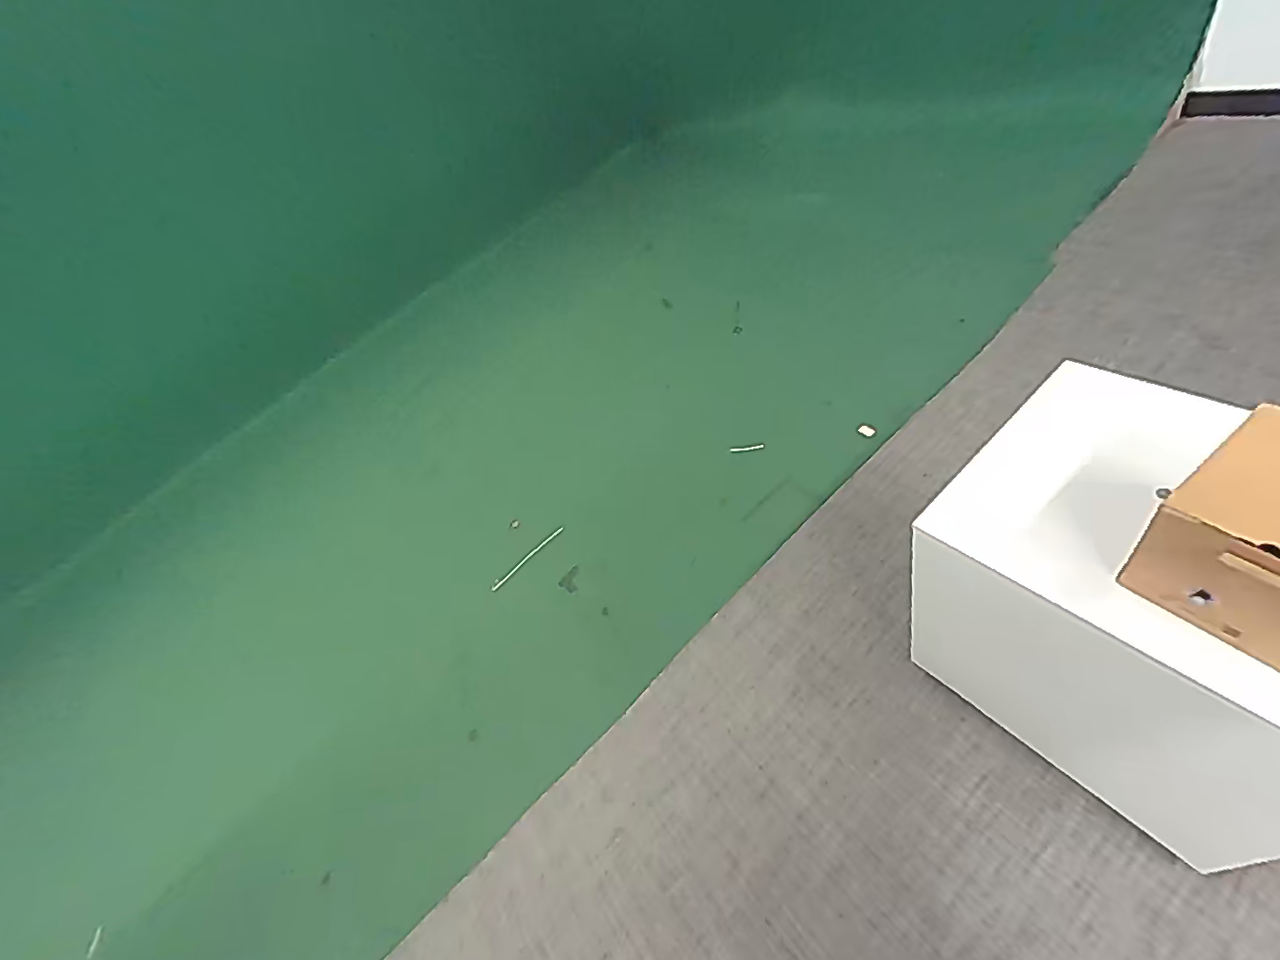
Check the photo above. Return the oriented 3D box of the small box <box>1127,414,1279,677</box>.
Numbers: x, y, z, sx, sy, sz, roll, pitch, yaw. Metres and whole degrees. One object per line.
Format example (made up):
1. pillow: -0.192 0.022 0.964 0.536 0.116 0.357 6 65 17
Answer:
1. small box: 0.669 0.070 0.566 0.179 0.176 0.168 -39 46 -9
